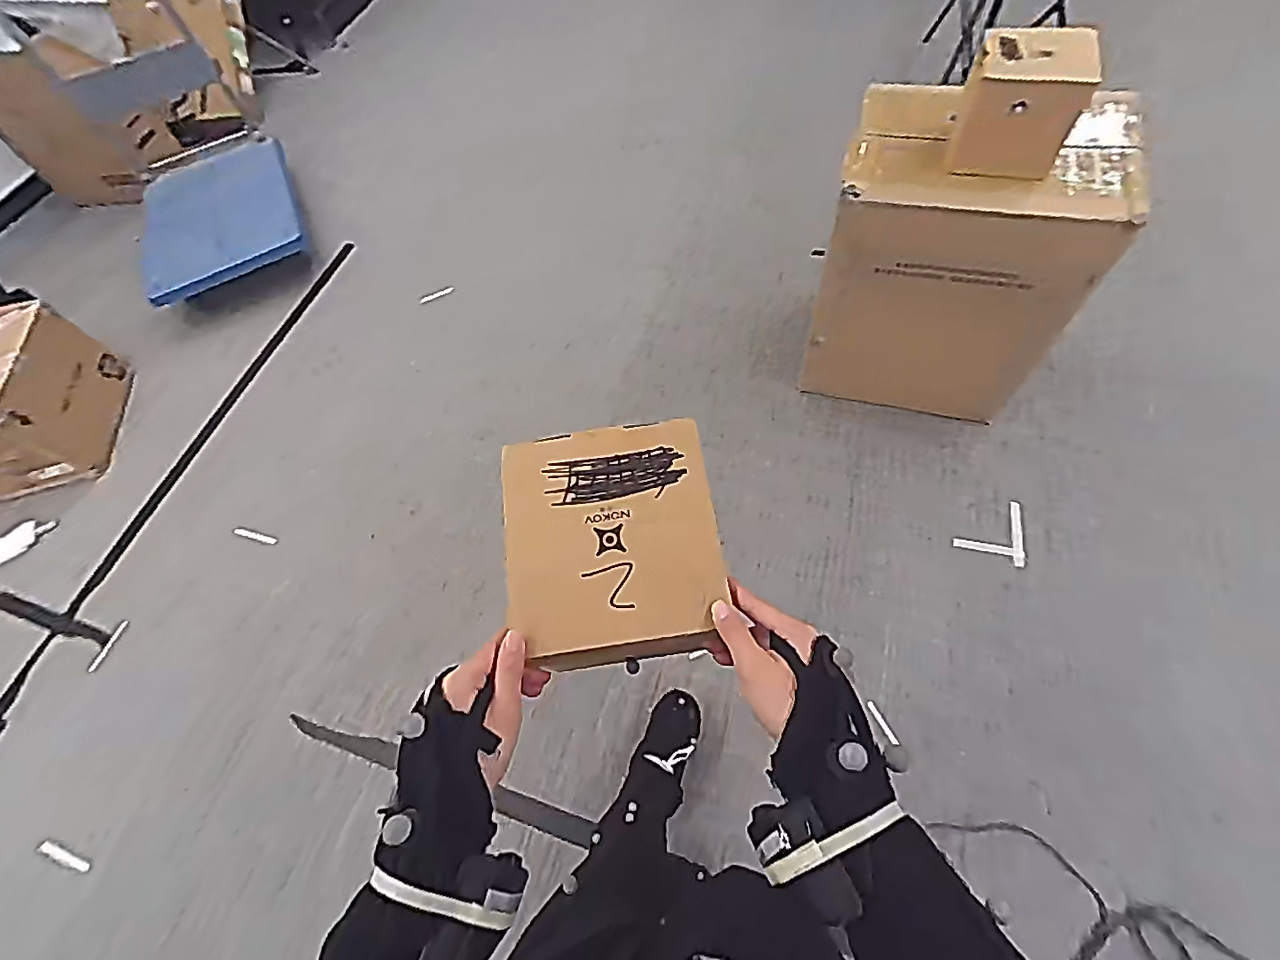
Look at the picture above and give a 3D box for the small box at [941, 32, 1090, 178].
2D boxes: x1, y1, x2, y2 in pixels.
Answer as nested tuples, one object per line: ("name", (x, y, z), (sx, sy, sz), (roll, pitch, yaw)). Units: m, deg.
("small box", (0.678, -0.685, 0.995), (0.179, 0.176, 0.168), (13, 65, 14))
